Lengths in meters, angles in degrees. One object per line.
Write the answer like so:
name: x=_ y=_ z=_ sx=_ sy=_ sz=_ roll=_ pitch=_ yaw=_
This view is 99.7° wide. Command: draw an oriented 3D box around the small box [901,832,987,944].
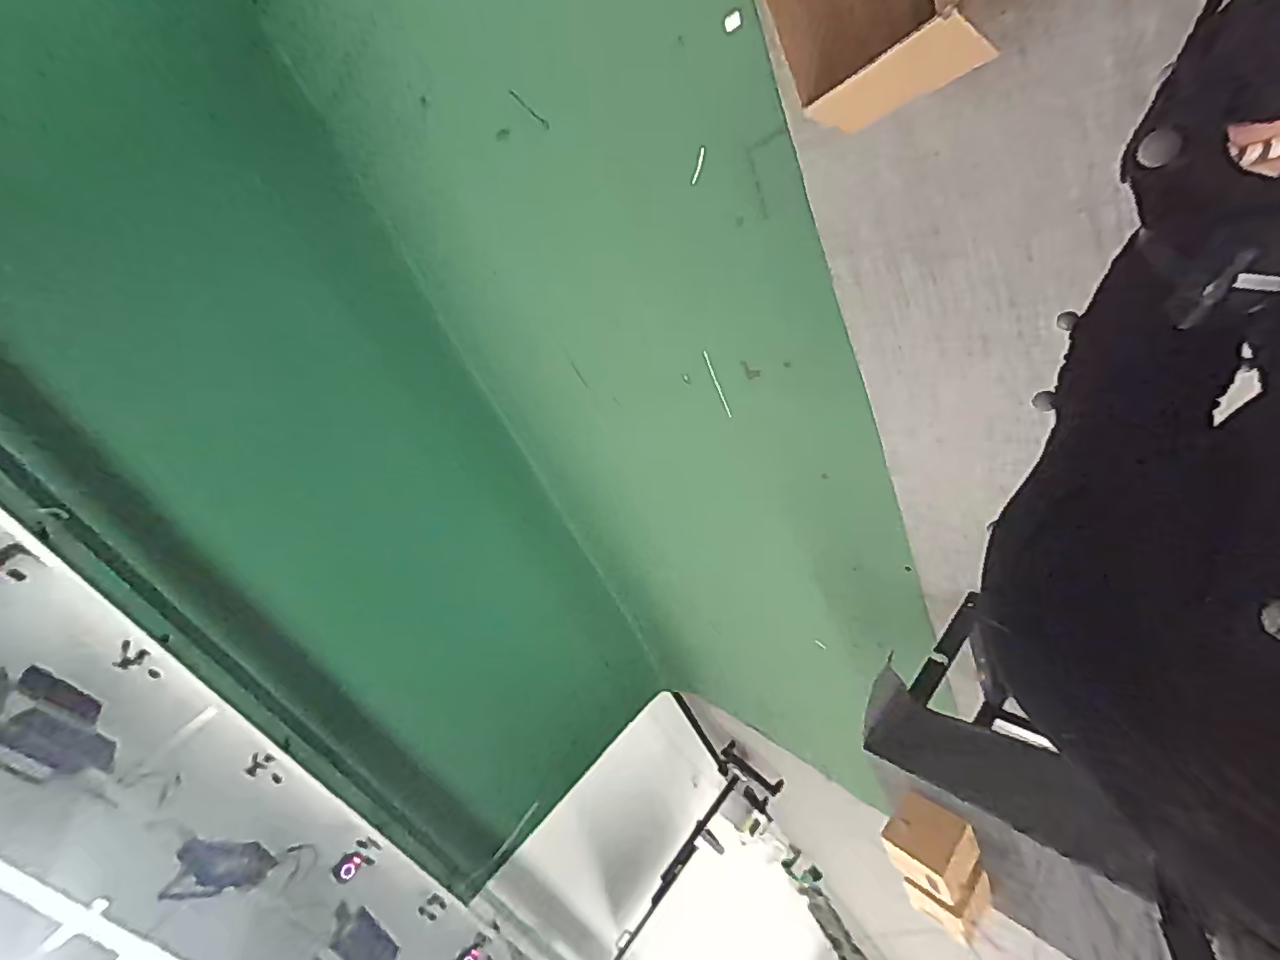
small box: x=0.914 y=1.213 z=1.616 sx=0.168 sy=0.176 sz=0.179 roll=12 pitch=135 yaw=51
